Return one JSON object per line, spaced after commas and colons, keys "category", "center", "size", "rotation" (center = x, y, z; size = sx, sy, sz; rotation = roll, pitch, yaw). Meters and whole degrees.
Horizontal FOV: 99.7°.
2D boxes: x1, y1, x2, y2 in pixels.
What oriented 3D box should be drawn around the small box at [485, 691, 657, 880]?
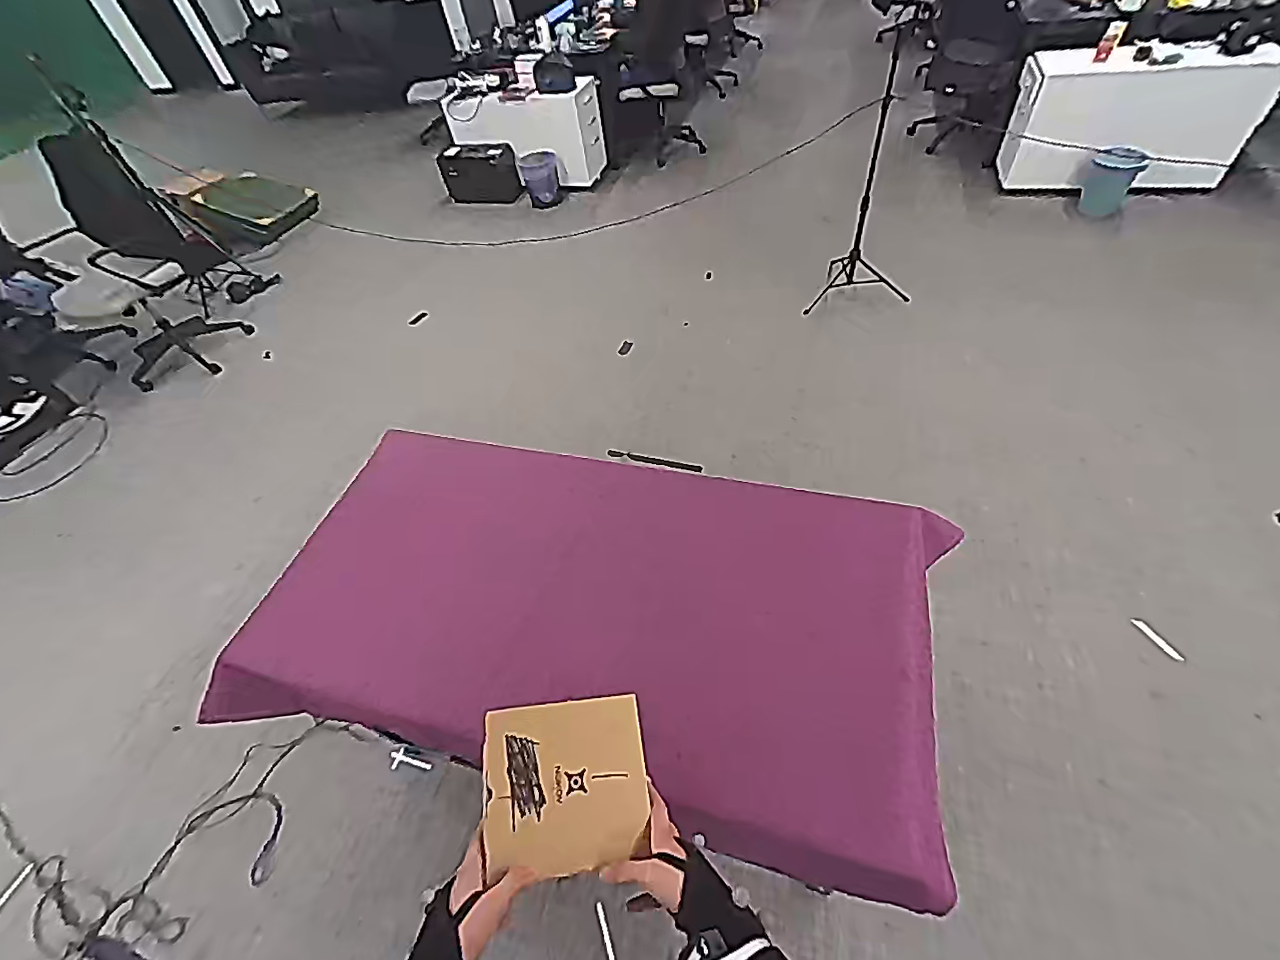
{"category": "small box", "center": [-0.084, 0.367, 0.652], "size": [0.179, 0.176, 0.168], "rotation": [-4, 58, -9]}
